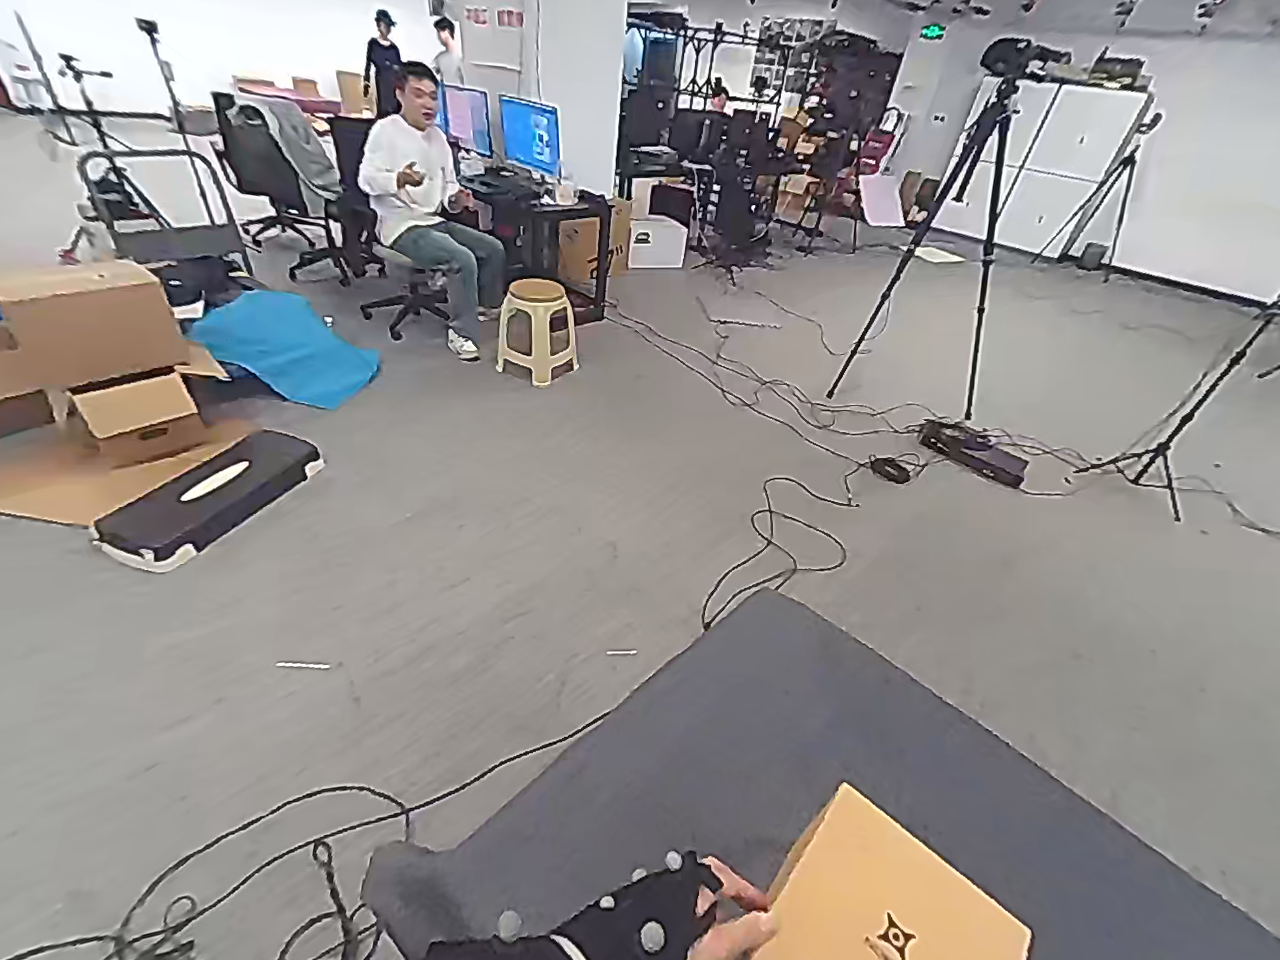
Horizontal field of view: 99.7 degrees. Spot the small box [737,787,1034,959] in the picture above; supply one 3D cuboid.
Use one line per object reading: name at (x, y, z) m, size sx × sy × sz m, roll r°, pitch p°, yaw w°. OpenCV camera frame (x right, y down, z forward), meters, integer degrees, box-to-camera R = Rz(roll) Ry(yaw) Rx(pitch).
small box at (0.193, 0.423, 0.467) m, size 0.168 × 0.176 × 0.179 m, roll 32°, pitch 43°, yaw 29°
